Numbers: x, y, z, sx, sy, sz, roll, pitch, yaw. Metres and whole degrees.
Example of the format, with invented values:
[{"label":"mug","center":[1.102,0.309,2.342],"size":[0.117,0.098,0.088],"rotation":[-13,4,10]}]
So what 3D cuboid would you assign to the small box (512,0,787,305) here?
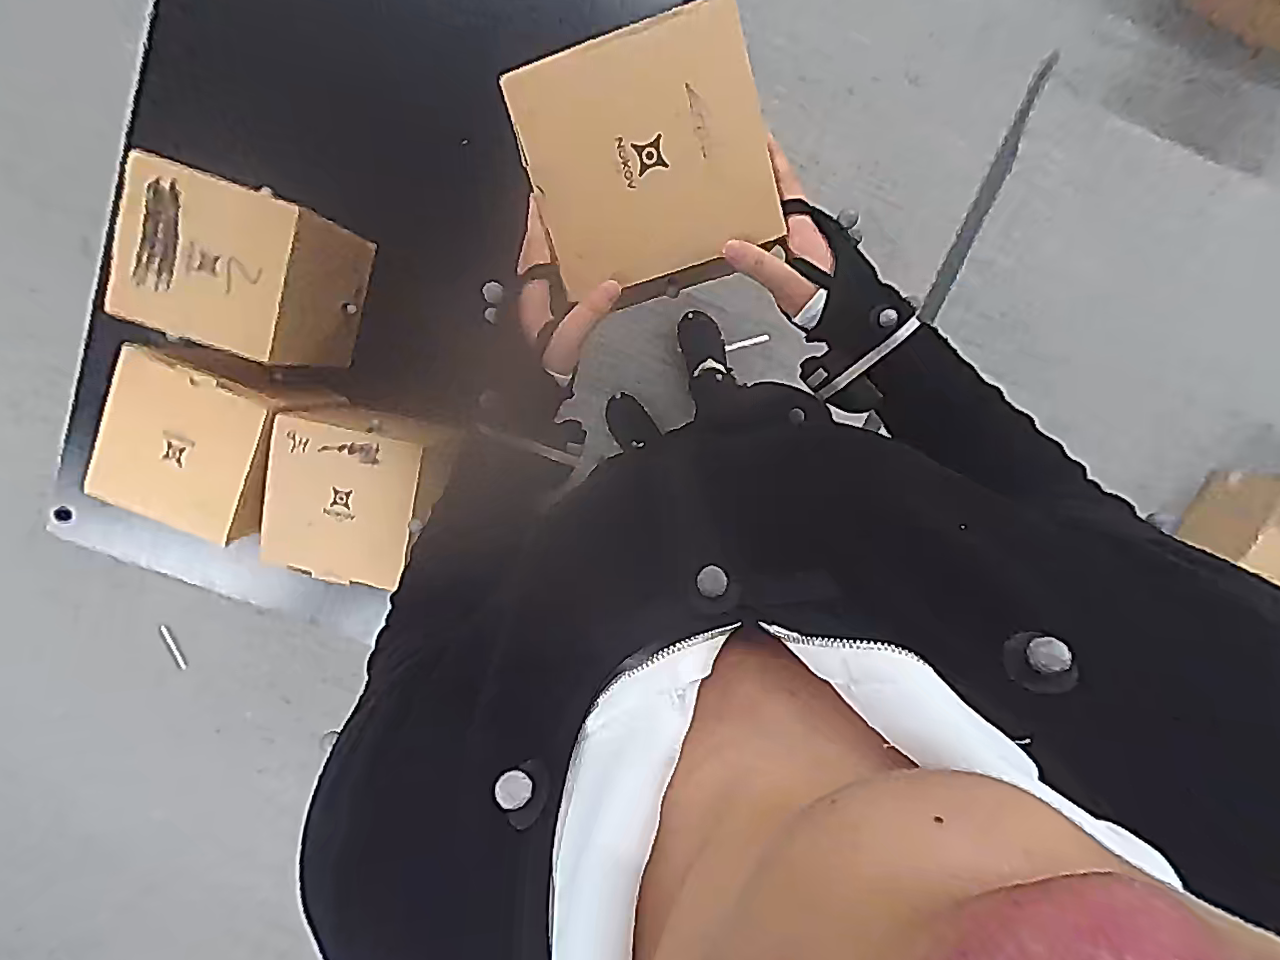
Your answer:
[{"label":"small box","center":[0.013,-0.262,0.481],"size":[0.179,0.176,0.168],"rotation":[-15,104,6]}]
